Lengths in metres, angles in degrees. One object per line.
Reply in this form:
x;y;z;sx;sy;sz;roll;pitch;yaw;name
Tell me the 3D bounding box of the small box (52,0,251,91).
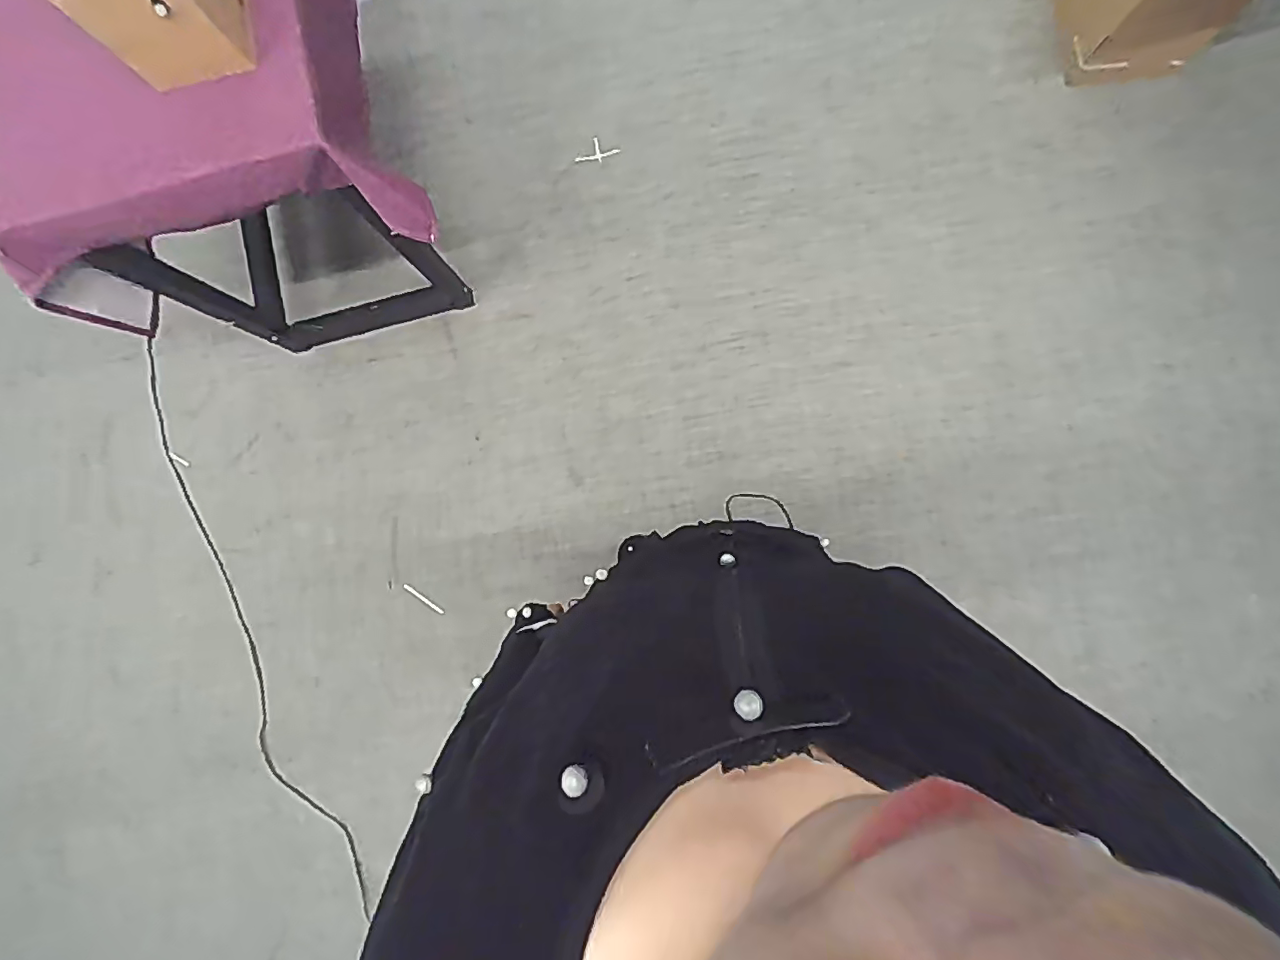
-0.733;-0.745;0.825;0.179;0.176;0.168;-11;85;4;small box
